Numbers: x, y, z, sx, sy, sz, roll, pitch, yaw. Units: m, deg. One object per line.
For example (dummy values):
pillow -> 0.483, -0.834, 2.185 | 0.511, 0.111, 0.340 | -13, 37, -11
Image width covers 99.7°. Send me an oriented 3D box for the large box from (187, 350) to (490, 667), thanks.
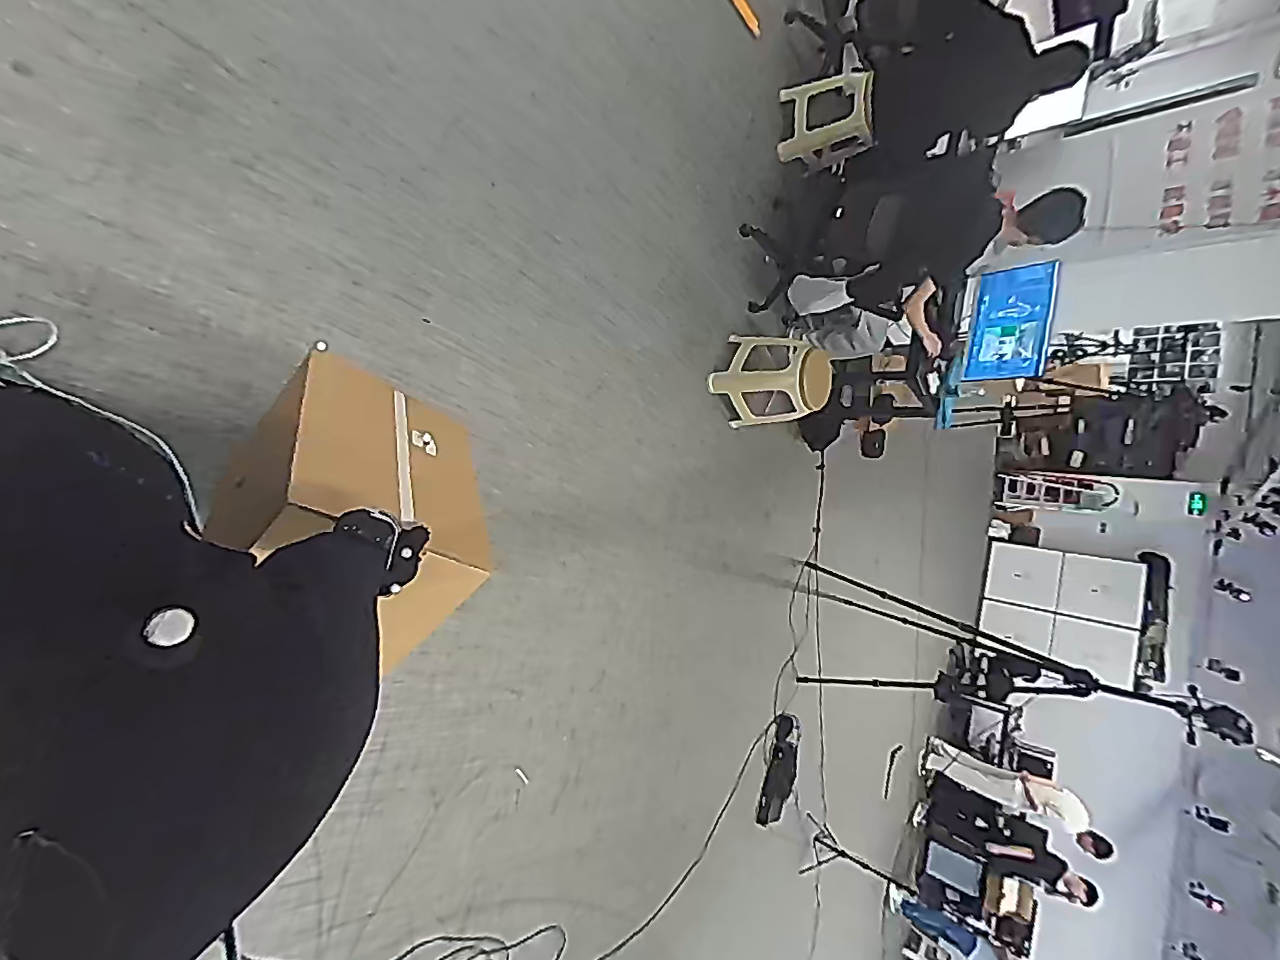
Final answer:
large box -> -0.510, 0.057, 0.948 | 0.320, 0.408, 0.320 | -43, 135, 15
